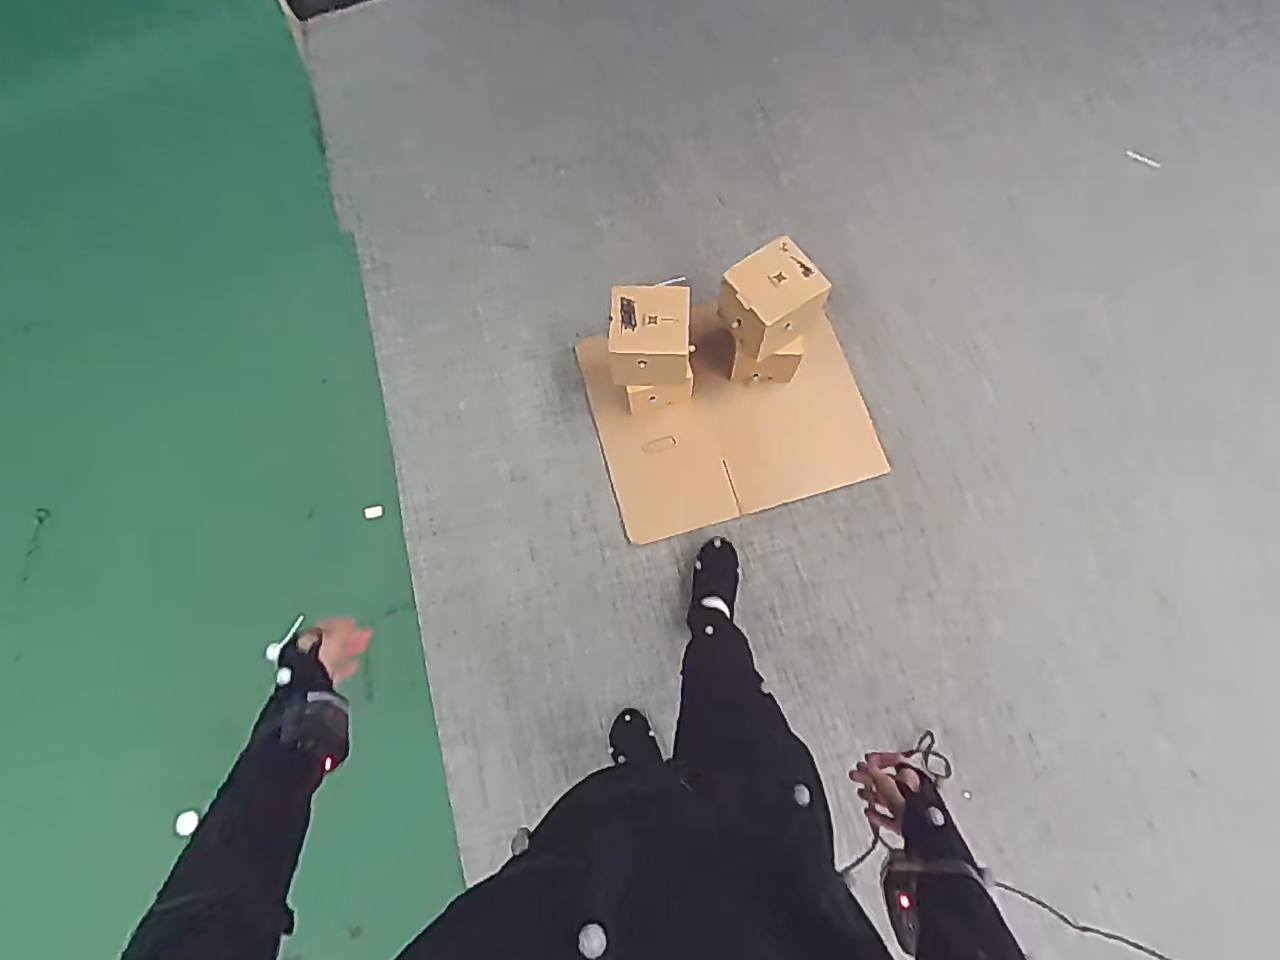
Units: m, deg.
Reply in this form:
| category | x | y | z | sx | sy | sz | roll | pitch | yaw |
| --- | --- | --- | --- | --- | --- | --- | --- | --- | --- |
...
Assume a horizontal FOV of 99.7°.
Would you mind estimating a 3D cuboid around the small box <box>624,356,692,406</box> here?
| category | x | y | z | sx | sy | sz | roll | pitch | yaw |
| --- | --- | --- | --- | --- | --- | --- | --- | --- | --- |
| small box | 0.035 | -0.306 | 1.401 | 0.168 | 0.176 | 0.179 | -15 | 75 | 0 |

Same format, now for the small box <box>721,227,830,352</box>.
| category | x | y | z | sx | sy | sz | roll | pitch | yaw |
| --- | --- | --- | --- | --- | --- | --- | --- | --- | --- |
| small box | 0.300 | -0.427 | 1.240 | 0.179 | 0.176 | 0.168 | -33 | 76 | -4 |

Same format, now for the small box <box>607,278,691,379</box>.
| category | x | y | z | sx | sy | sz | roll | pitch | yaw |
| --- | --- | --- | --- | --- | --- | --- | --- | --- | --- |
| small box | 0.025 | -0.341 | 1.241 | 0.179 | 0.176 | 0.168 | 2 | 76 | 3 |

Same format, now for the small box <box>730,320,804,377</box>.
| category | x | y | z | sx | sy | sz | roll | pitch | yaw |
| --- | --- | --- | --- | --- | --- | --- | --- | --- | --- |
| small box | 0.323 | -0.384 | 1.396 | 0.168 | 0.176 | 0.179 | 2 | 77 | 5 |
